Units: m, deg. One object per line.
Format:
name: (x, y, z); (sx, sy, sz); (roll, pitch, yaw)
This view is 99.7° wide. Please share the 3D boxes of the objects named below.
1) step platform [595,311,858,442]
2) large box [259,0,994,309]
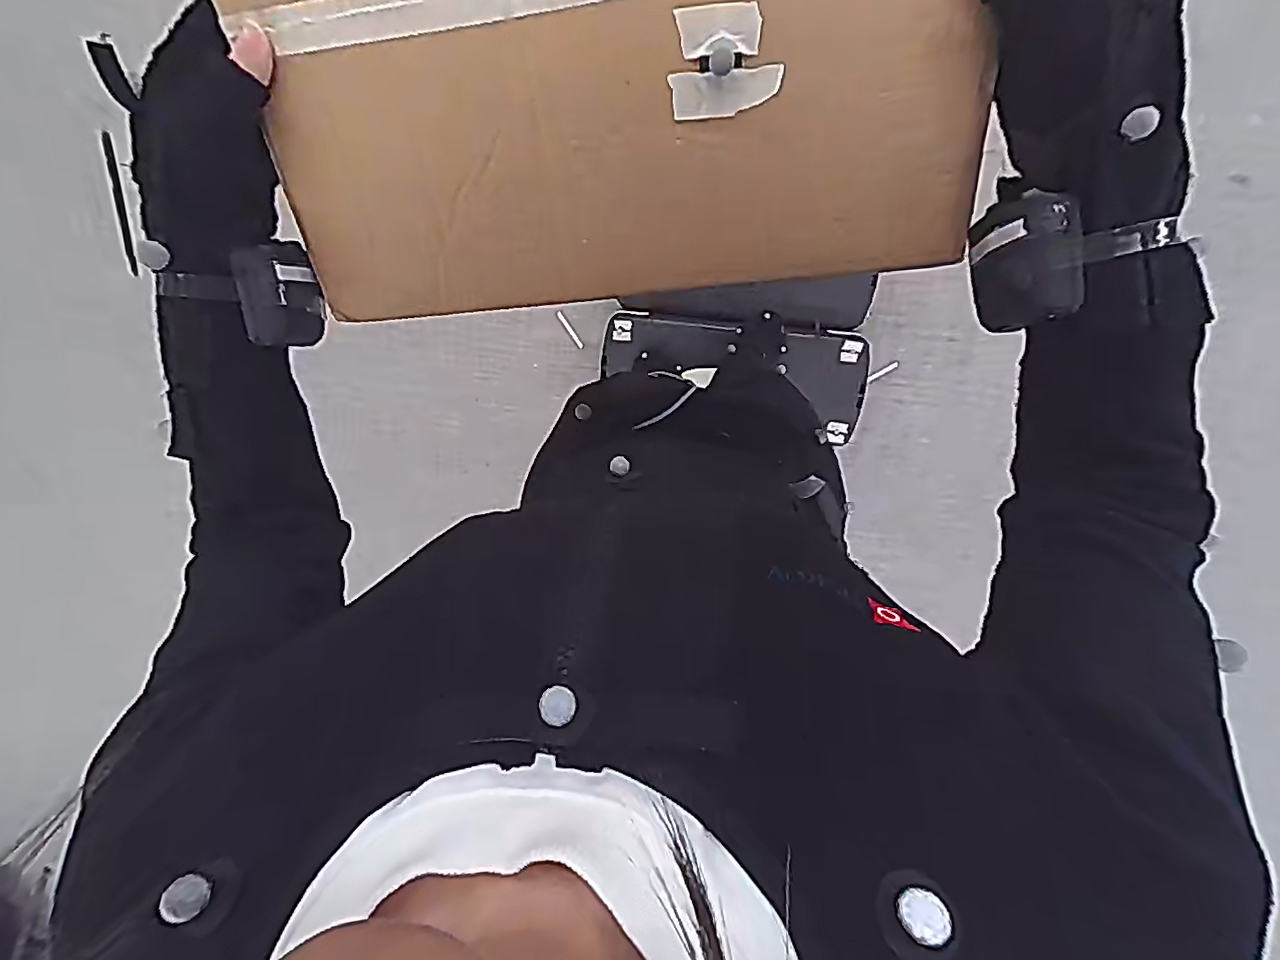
step platform: (0.220, -0.283, 1.457); (0.684, 0.204, 0.286); (7, 108, 7)
large box: (-0.006, -0.336, 0.416); (0.408, 0.320, 0.320); (-3, 119, 7)
